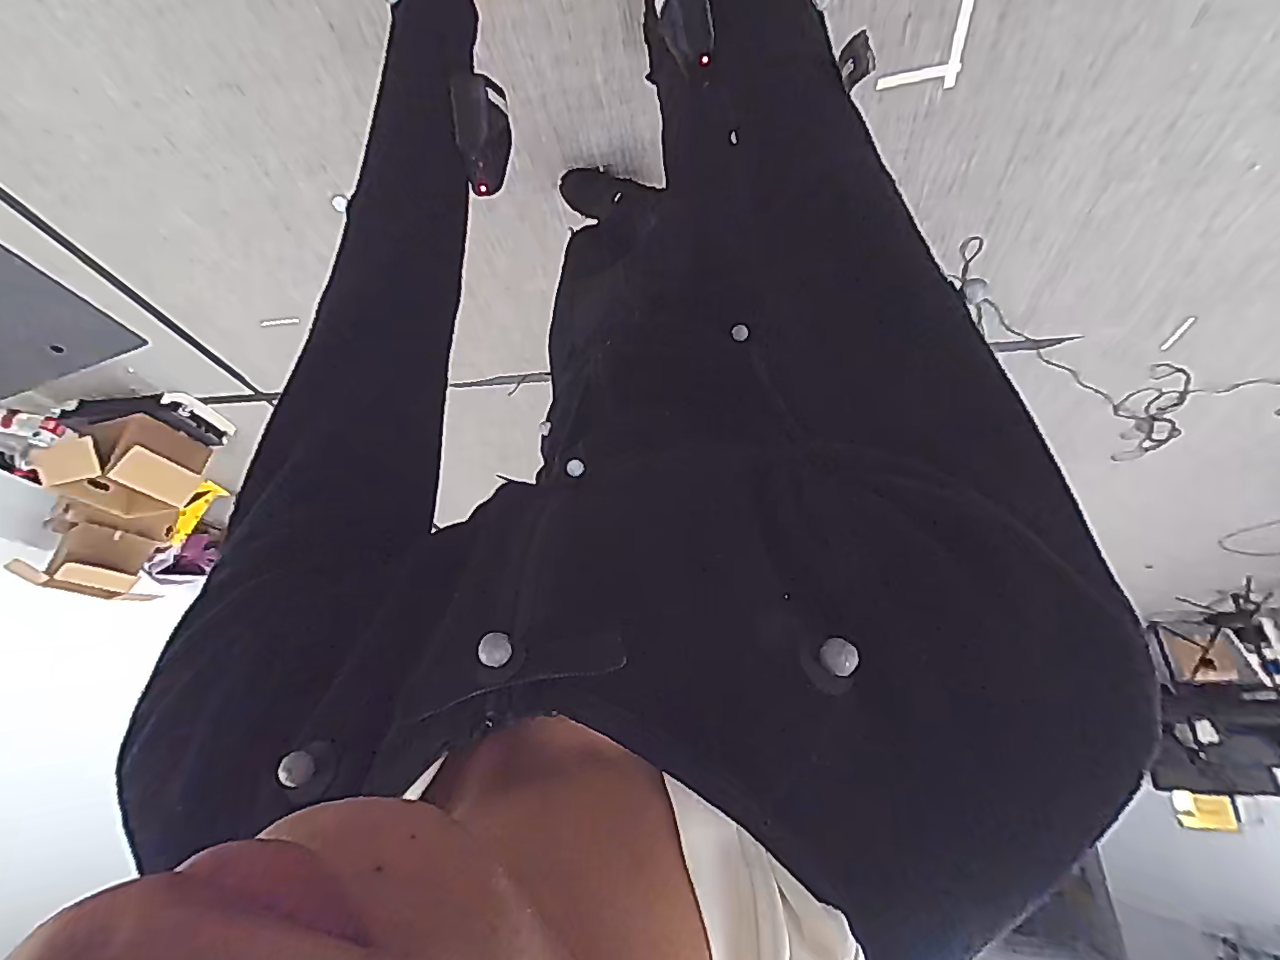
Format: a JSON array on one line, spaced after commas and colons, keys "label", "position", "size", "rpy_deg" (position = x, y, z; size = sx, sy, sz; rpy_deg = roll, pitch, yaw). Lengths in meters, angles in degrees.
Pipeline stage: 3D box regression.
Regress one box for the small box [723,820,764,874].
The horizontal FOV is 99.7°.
[{"label": "small box", "position": [0.437, 1.549, 2.294], "size": [0.168, 0.176, 0.179], "rpy_deg": [-2, 152, 10]}]
